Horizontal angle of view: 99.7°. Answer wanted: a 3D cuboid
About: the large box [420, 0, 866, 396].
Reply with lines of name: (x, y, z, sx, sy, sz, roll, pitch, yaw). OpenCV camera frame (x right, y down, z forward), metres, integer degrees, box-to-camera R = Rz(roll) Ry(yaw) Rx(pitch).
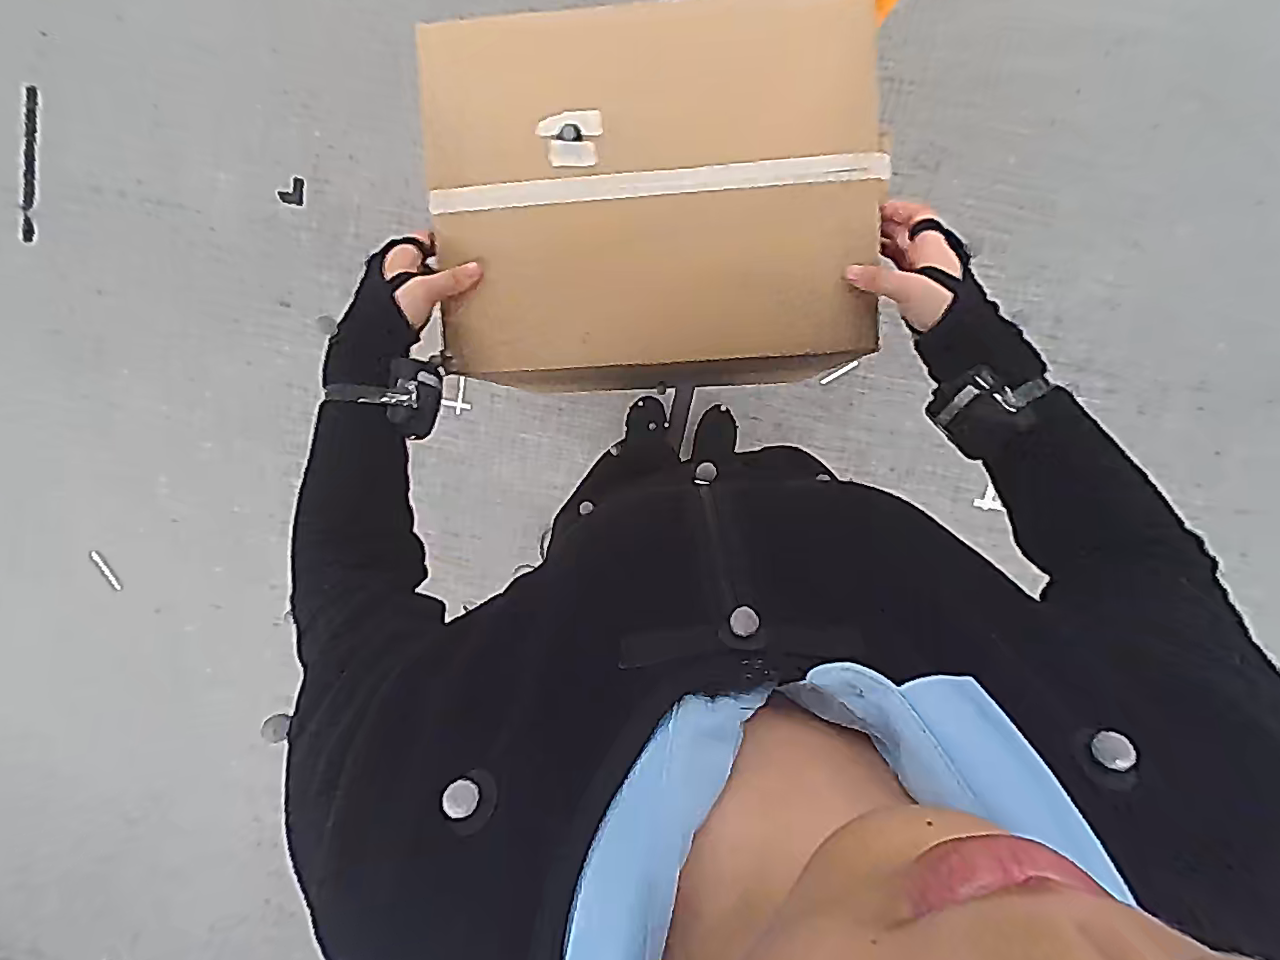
large box: (0.014, -0.277, 0.648, 0.408, 0.320, 0.320, -3, 94, 5)
